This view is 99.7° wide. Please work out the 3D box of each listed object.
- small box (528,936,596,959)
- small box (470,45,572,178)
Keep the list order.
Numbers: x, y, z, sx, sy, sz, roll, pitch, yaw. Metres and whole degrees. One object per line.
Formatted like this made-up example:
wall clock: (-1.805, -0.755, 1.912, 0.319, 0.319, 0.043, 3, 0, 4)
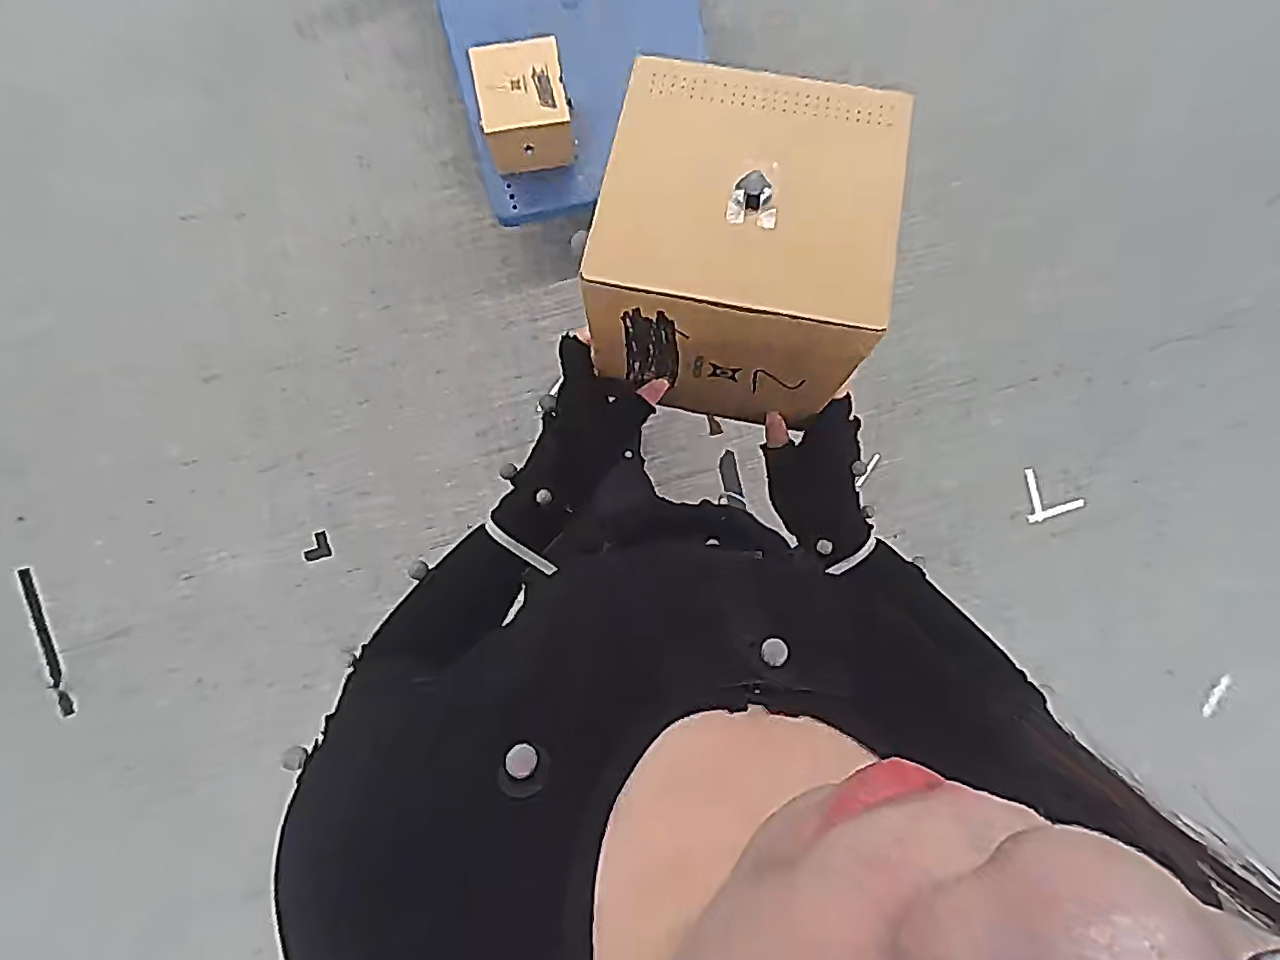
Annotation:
small box: (-0.193, 1.274, 1.314, 0.179, 0.176, 0.168, -17, 95, -2)
small box: (-0.244, -0.775, 1.152, 0.179, 0.176, 0.168, -11, 94, -3)
